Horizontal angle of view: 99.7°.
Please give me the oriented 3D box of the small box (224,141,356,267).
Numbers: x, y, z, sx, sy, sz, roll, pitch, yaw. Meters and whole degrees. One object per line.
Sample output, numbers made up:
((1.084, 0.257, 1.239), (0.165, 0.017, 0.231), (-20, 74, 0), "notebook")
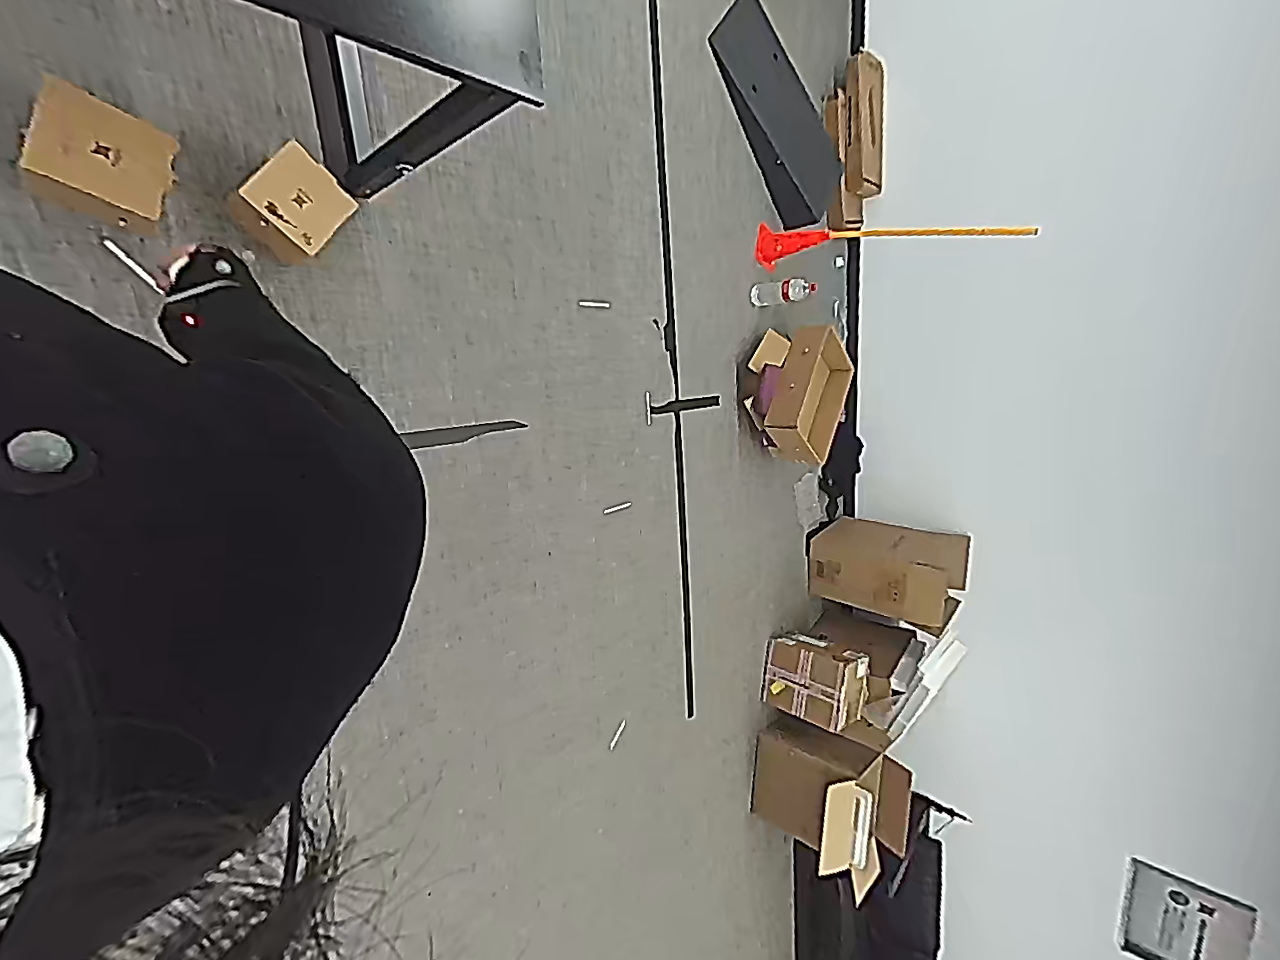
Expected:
((-0.790, -0.612, 1.217), (0.168, 0.176, 0.179), (45, 63, -41), "small box")

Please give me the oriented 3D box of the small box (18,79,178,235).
((-0.997, -0.576, 0.998), (0.179, 0.176, 0.168), (14, 84, -47), "small box")
